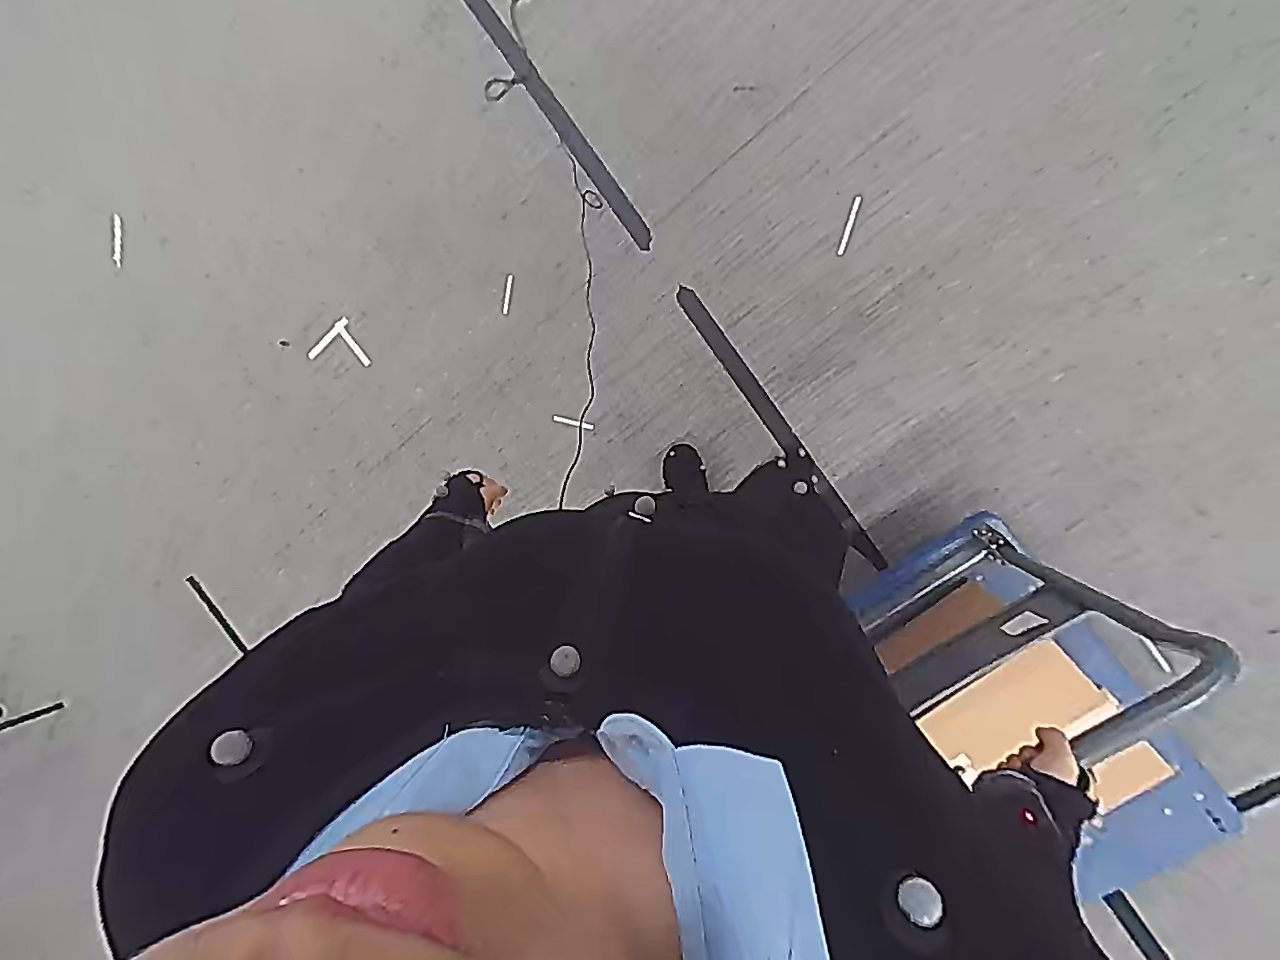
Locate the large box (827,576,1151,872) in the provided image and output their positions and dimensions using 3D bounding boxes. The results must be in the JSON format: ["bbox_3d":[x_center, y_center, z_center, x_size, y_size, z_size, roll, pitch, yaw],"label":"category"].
[{"bbox_3d":[0.662,0.471,1.112,0.408,0.320,0.320,-43,88,14],"label":"large box"}]
